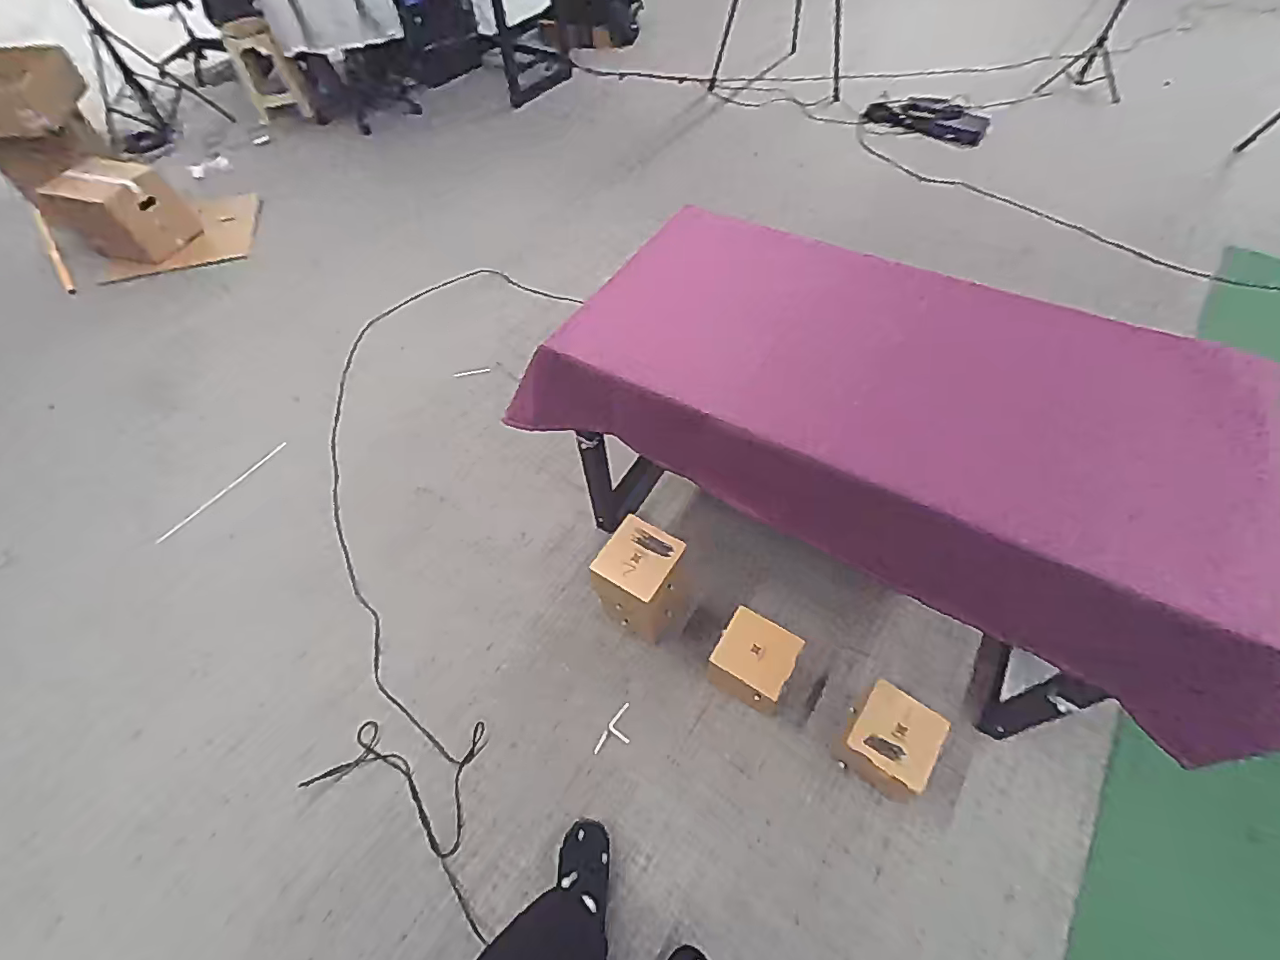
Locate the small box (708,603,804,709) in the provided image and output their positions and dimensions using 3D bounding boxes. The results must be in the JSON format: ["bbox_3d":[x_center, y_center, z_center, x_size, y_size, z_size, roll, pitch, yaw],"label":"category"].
[{"bbox_3d":[0.283,0.446,1.354,0.179,0.176,0.168,27,62,20],"label":"small box"}]
